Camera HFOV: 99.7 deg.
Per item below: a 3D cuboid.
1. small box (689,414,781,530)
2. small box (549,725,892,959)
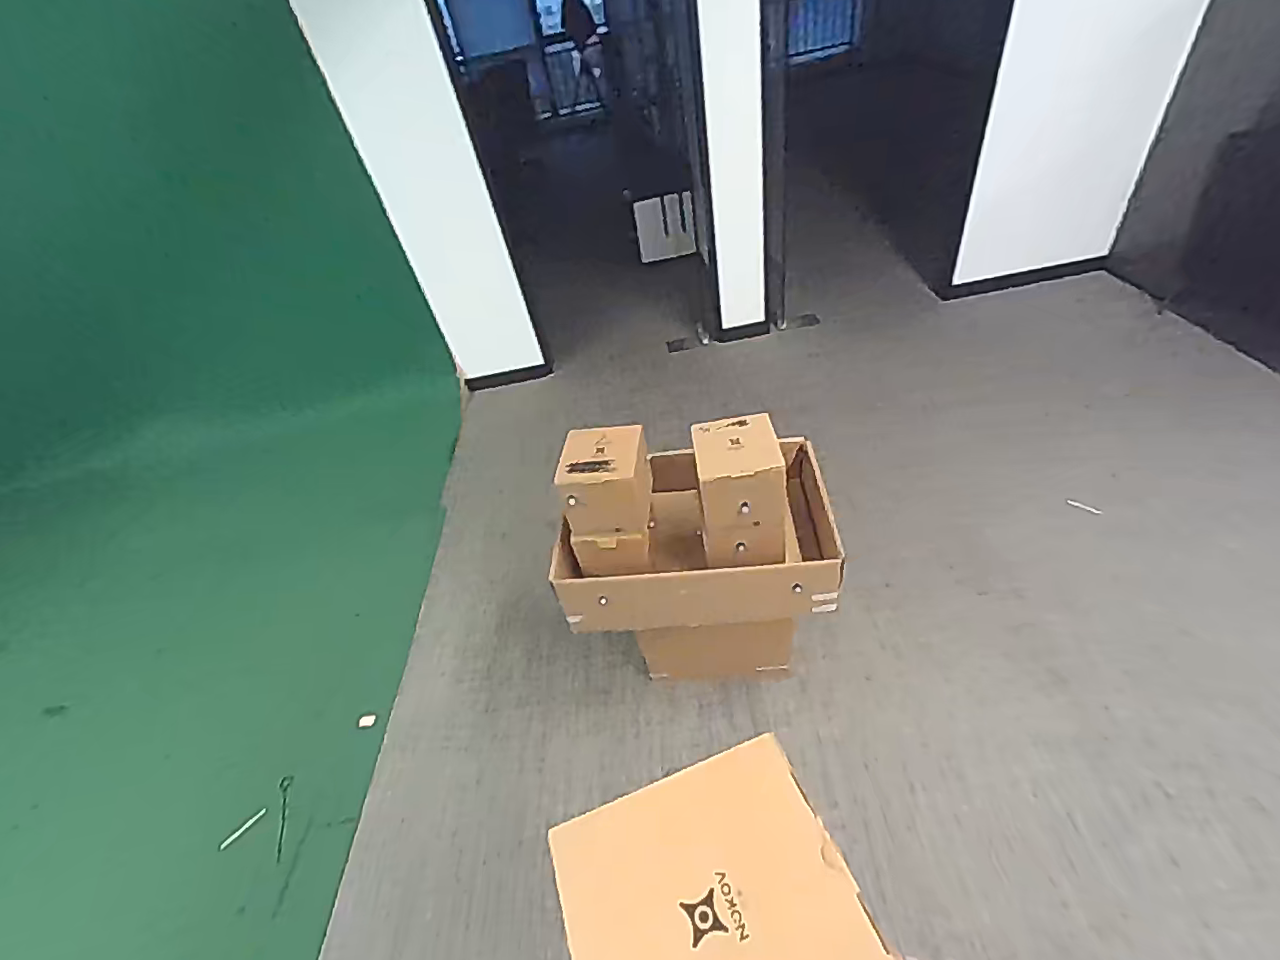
[{"bbox_3d":[0.198,-0.010,1.130,0.168,0.176,0.179,-8,44,6],"label":"small box"},{"bbox_3d":[0.052,0.317,0.386,0.179,0.176,0.168,-18,42,-9],"label":"small box"}]
